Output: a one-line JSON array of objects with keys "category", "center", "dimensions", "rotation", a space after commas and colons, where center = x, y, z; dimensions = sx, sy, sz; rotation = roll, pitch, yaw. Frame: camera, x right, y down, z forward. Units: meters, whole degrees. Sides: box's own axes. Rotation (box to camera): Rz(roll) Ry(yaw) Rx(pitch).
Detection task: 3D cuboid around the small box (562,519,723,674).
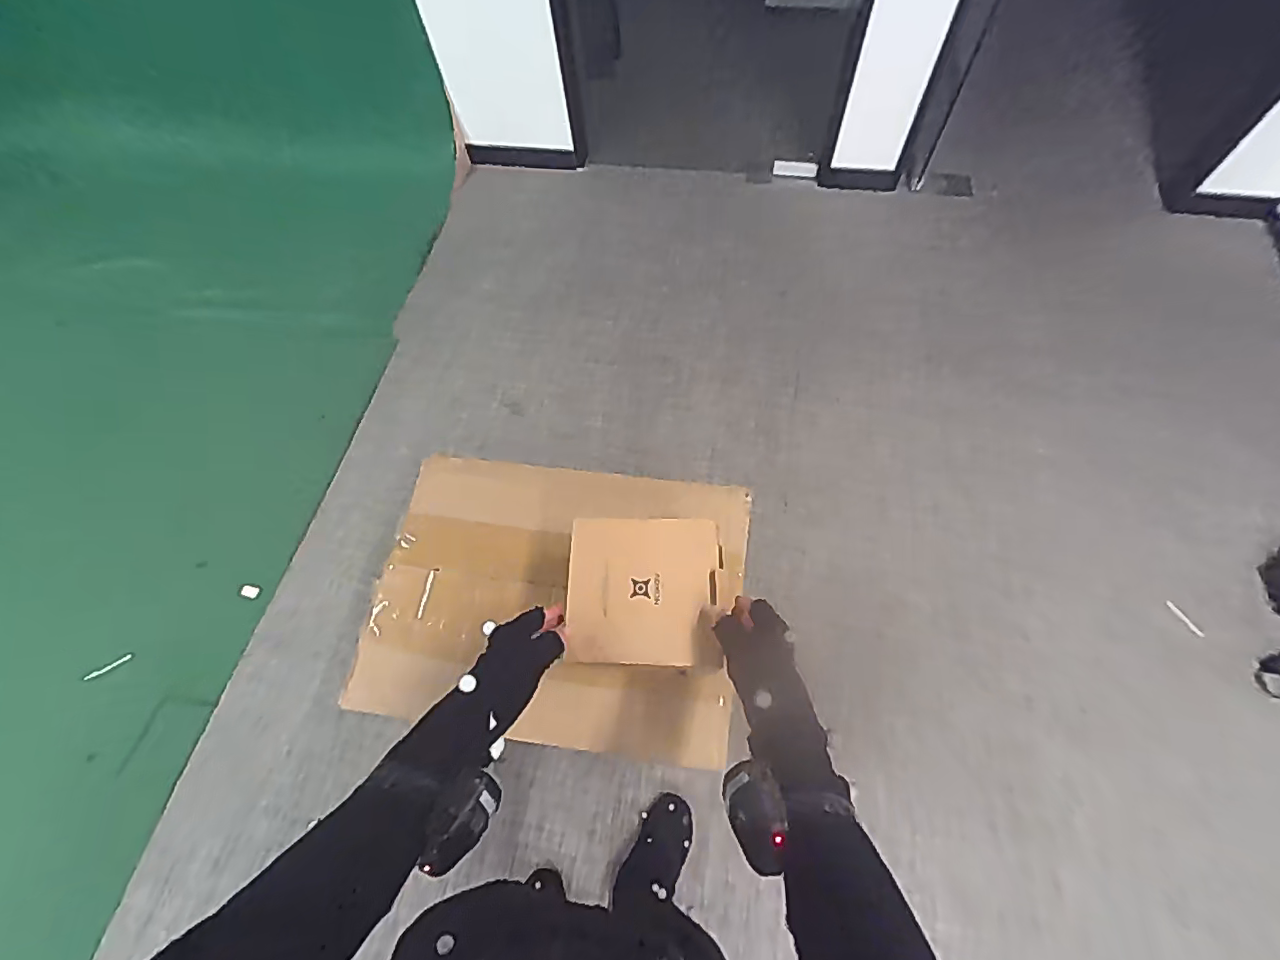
[{"category": "small box", "center": [0.009, 0.153, 0.686], "dimensions": [0.179, 0.176, 0.168], "rotation": [-1, 67, 5]}]
